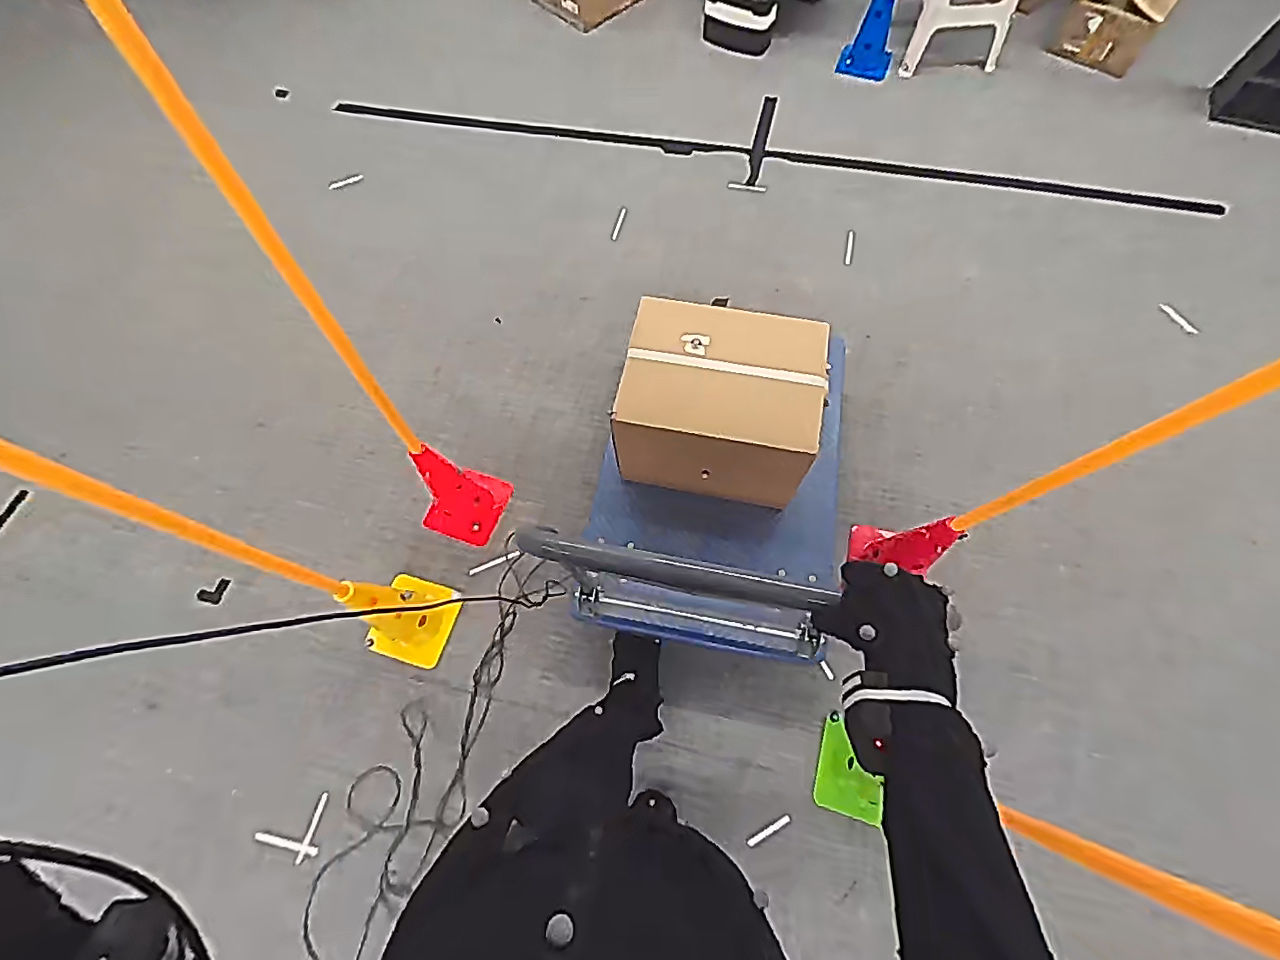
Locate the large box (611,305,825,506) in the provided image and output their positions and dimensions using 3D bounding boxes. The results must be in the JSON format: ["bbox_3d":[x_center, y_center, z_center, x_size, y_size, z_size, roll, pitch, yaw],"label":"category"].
[{"bbox_3d":[0.175,-0.156,1.238,0.408,0.320,0.320,11,68,7],"label":"large box"}]

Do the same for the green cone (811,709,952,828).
[{"bbox_3d":[0.496,0.579,1.063,0.202,0.368,0.200,16,68,8],"label":"green cone"}]

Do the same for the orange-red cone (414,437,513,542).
[{"bbox_3d":[-0.482,-0.010,1.357,0.198,0.360,0.199,20,67,9],"label":"orange-red cone"}]

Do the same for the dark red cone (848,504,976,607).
[{"bbox_3d":[0.635,0.144,1.227,0.201,0.394,0.202,13,68,6],"label":"dark red cone"}]
